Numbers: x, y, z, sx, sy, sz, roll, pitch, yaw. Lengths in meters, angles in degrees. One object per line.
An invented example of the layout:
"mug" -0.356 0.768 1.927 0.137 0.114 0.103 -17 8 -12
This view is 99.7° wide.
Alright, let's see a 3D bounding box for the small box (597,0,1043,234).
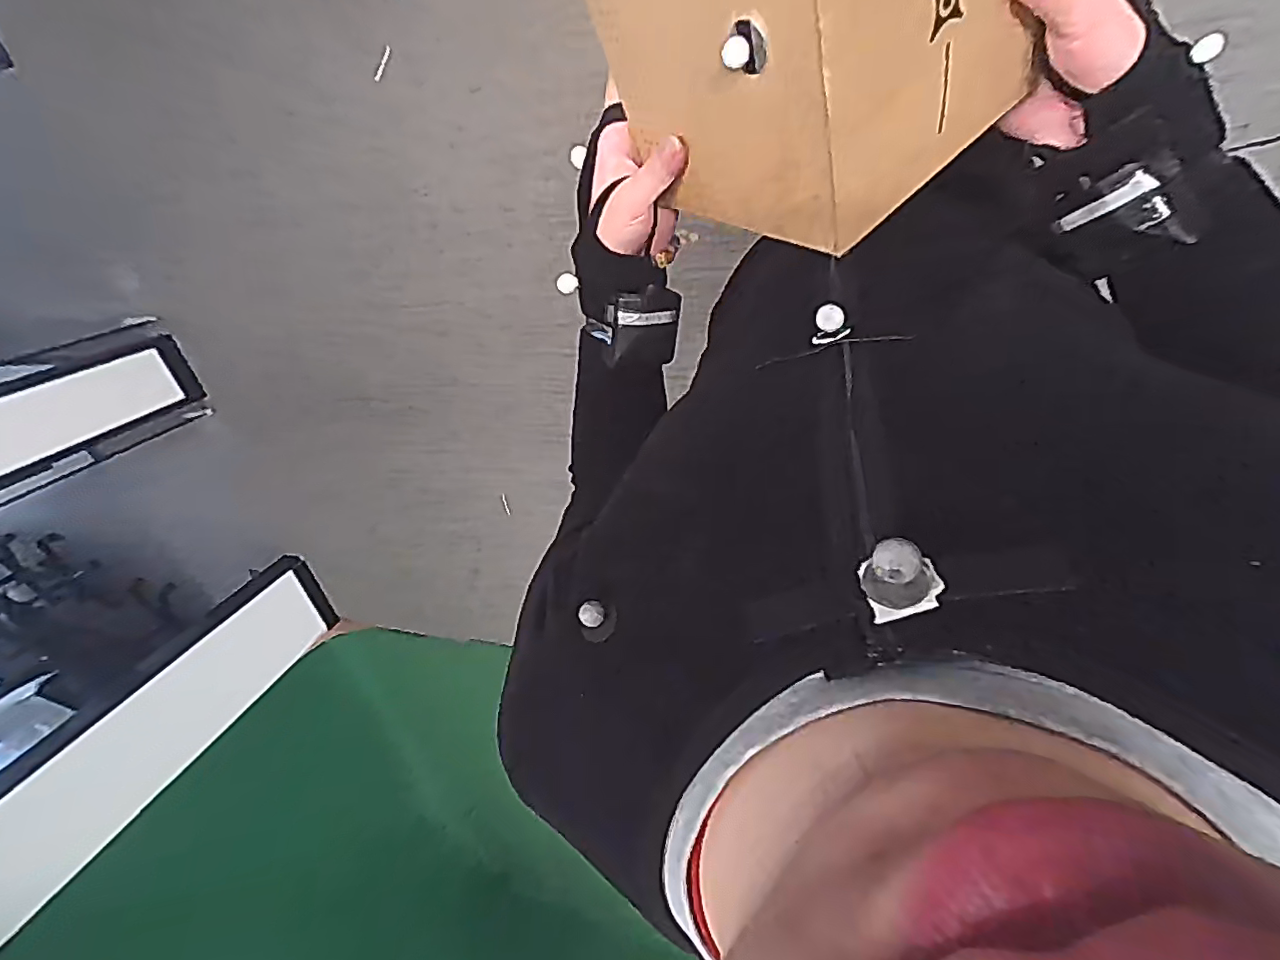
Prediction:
"small box" 0.088 -0.270 0.291 0.176 0.168 0.179 42 169 40
